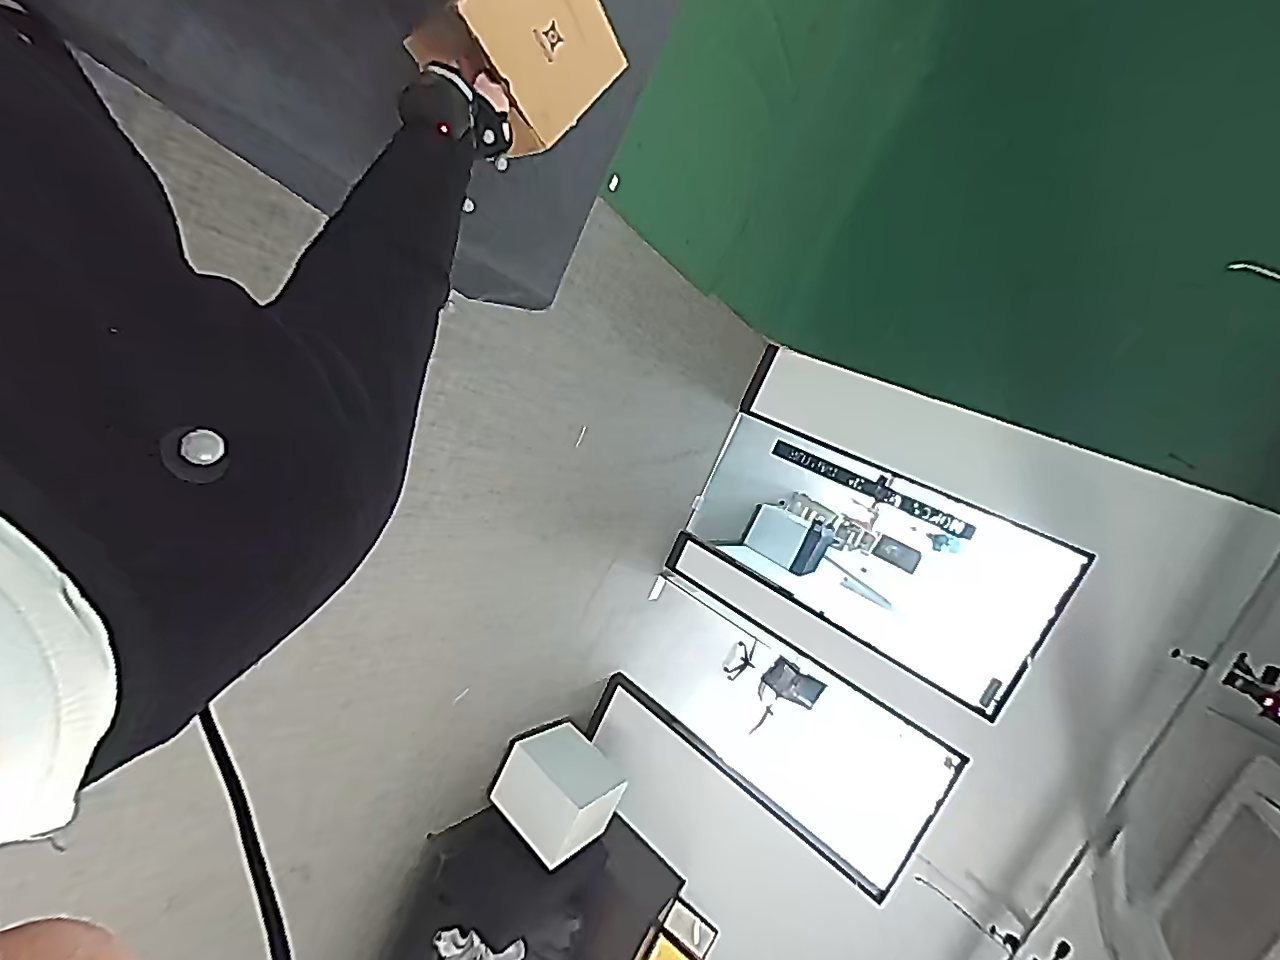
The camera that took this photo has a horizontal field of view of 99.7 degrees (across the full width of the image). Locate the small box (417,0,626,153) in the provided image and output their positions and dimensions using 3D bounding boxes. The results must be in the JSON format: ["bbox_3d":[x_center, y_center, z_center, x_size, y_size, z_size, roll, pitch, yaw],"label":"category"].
[{"bbox_3d":[-0.158,-0.554,0.698,0.179,0.176,0.168,-53,137,-10],"label":"small box"}]
